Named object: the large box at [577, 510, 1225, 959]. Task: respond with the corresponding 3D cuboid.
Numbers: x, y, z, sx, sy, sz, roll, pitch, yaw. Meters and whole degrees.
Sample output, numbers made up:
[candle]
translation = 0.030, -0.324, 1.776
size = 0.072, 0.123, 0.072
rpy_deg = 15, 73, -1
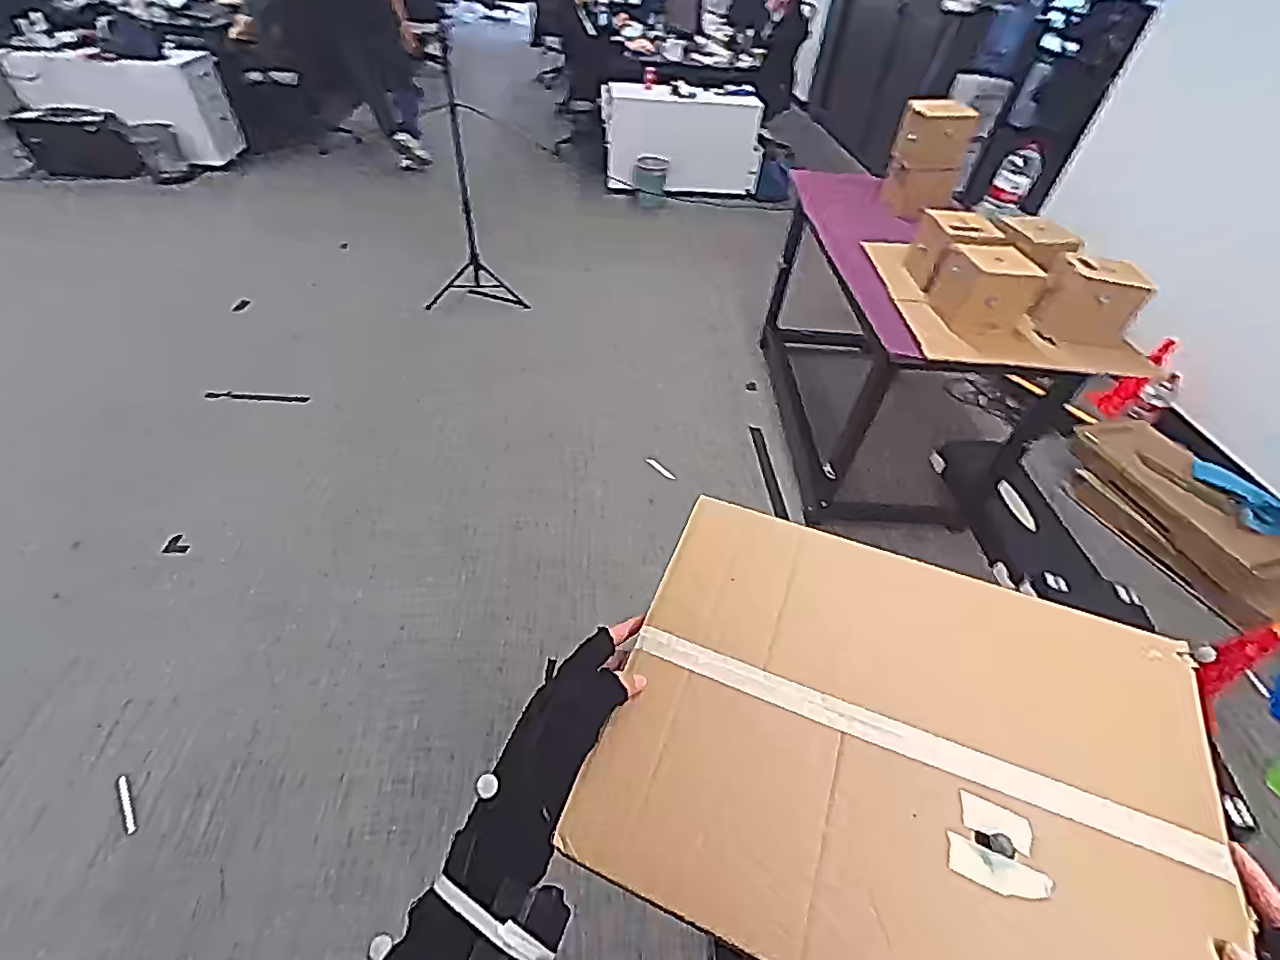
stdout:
[large box]
translation = 0.196, 0.285, 0.528
size = 0.408, 0.320, 0.320
rpy_deg = 17, 55, 15
